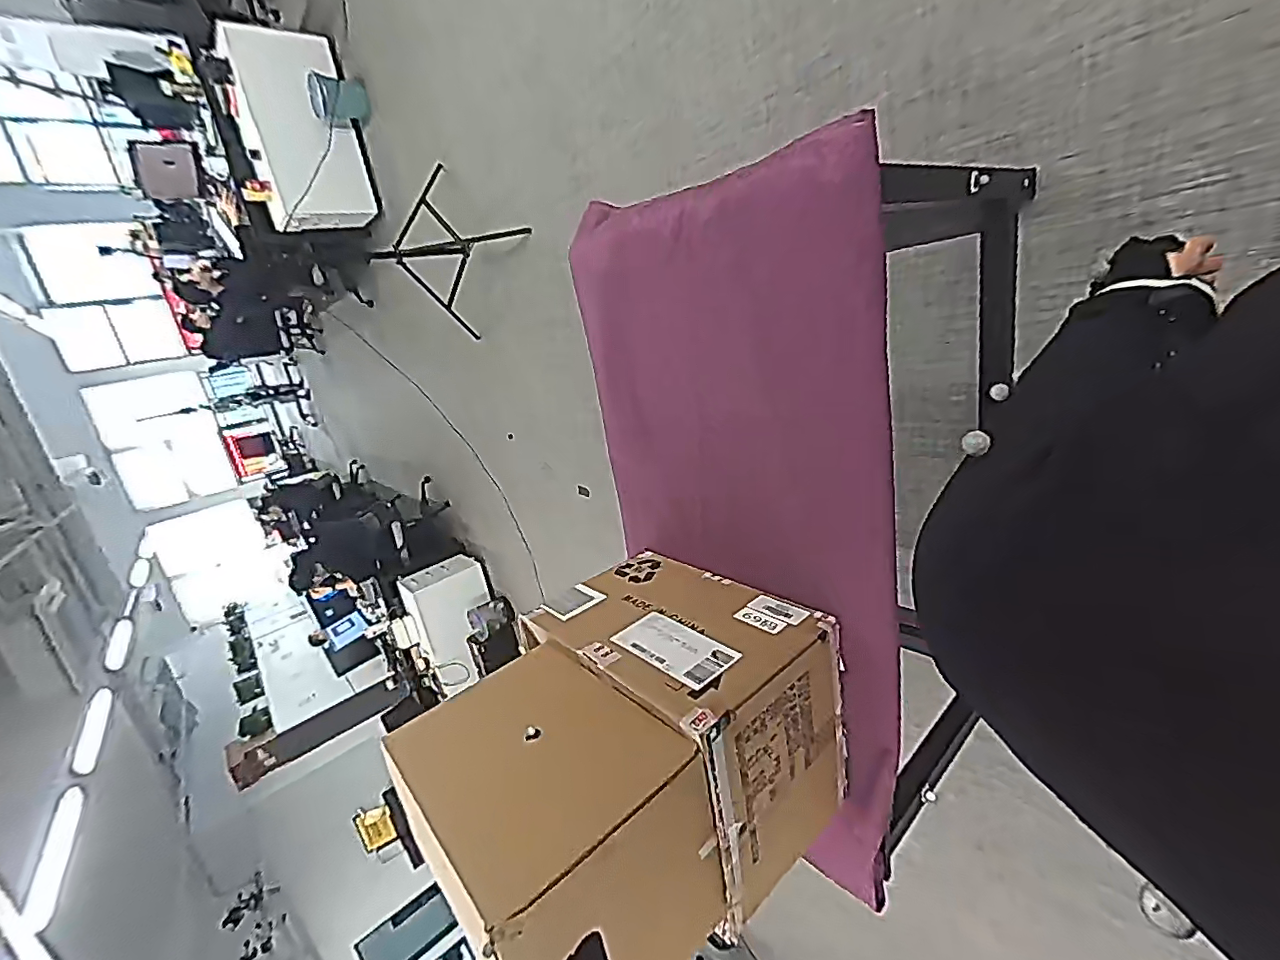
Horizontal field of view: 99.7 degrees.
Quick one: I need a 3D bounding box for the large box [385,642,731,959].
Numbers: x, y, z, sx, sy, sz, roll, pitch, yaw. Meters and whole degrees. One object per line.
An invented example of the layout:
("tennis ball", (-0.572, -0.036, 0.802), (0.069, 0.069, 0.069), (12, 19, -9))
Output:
("large box", (-0.129, 0.502, 0.811), (0.408, 0.320, 0.320), (10, 117, 50))
